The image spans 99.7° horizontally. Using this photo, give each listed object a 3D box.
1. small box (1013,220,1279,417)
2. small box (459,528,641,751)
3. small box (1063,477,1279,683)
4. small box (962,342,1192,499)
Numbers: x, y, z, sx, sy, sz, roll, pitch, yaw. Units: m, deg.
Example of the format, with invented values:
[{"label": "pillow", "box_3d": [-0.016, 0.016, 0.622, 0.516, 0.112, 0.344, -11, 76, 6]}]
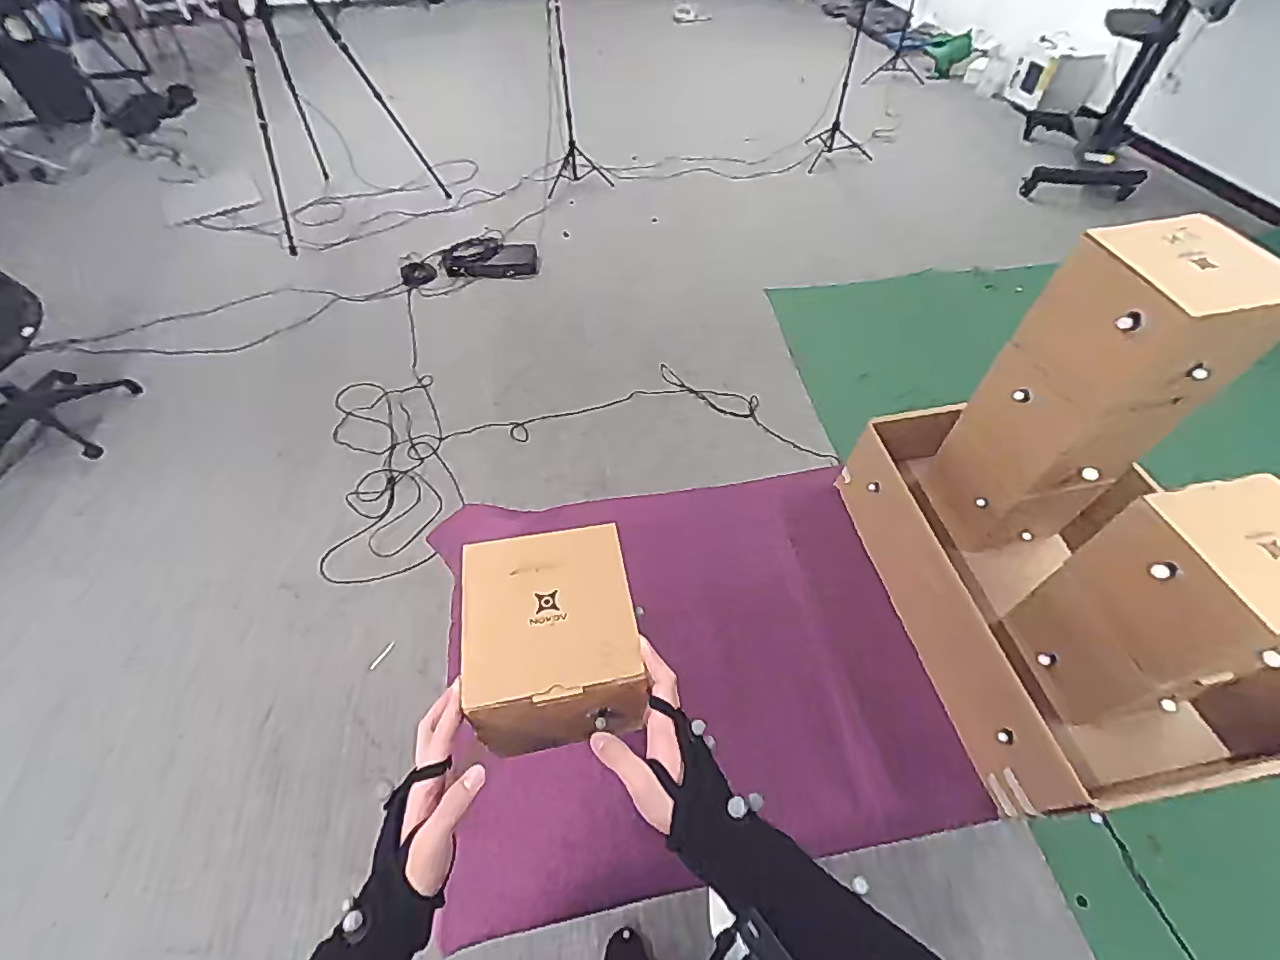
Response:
[{"label": "small box", "box_3d": [0.628, -0.194, 0.680, 0.168, 0.176, 0.179, -9, 54, -5]}, {"label": "small box", "box_3d": [-0.094, 0.179, 0.591, 0.168, 0.176, 0.179, -7, 50, -9]}, {"label": "small box", "box_3d": [0.672, 0.126, 0.643, 0.168, 0.176, 0.179, -10, 51, -4]}, {"label": "small box", "box_3d": [0.632, -0.098, 0.815, 0.168, 0.176, 0.179, -11, 54, -5]}]
